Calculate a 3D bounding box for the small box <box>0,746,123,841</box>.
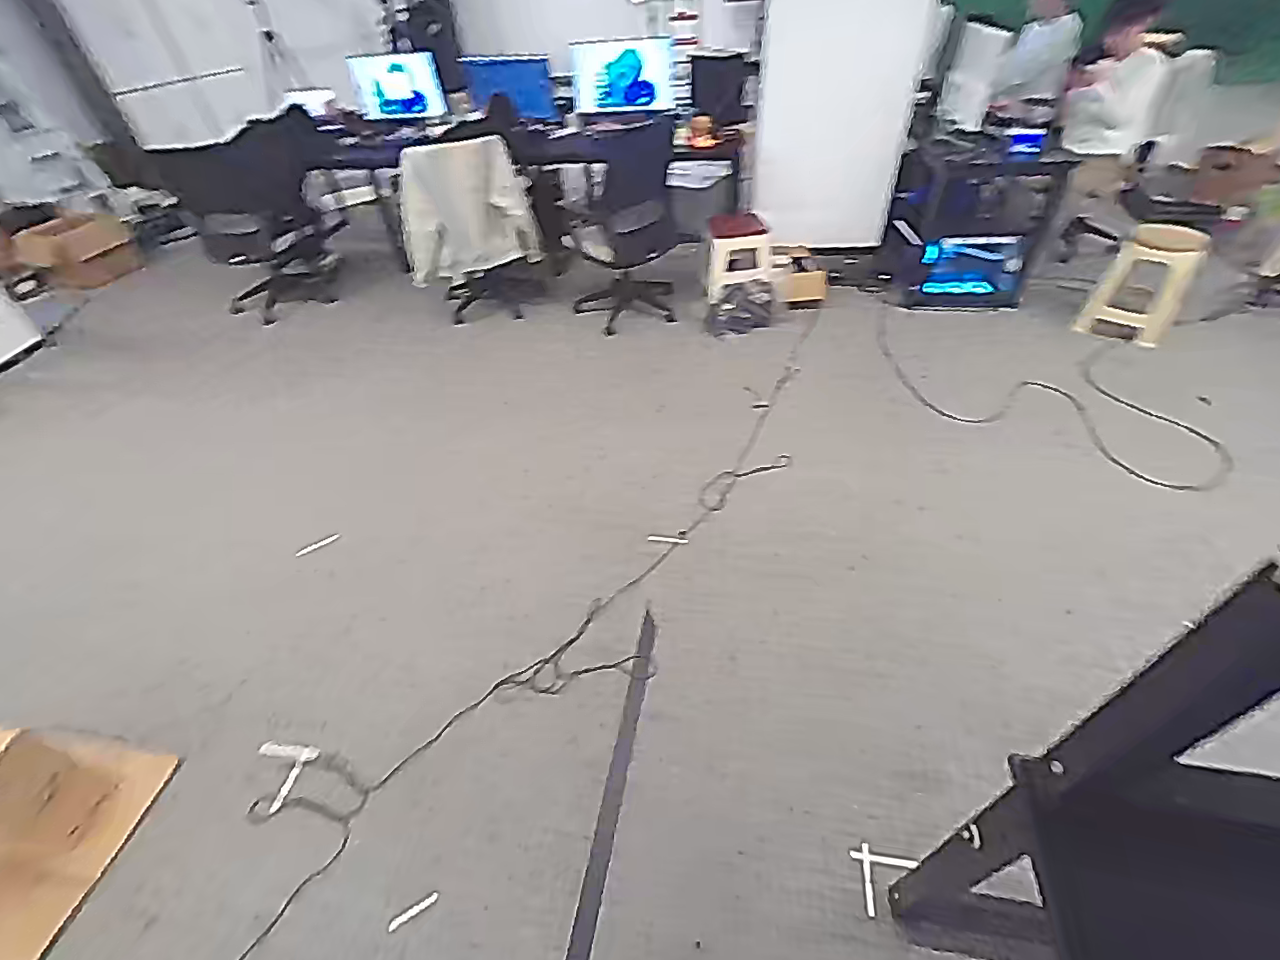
[{"bbox_3d":[-1.483,0.790,1.358,0.179,0.176,0.168,0,44,6],"label":"small box"}]
